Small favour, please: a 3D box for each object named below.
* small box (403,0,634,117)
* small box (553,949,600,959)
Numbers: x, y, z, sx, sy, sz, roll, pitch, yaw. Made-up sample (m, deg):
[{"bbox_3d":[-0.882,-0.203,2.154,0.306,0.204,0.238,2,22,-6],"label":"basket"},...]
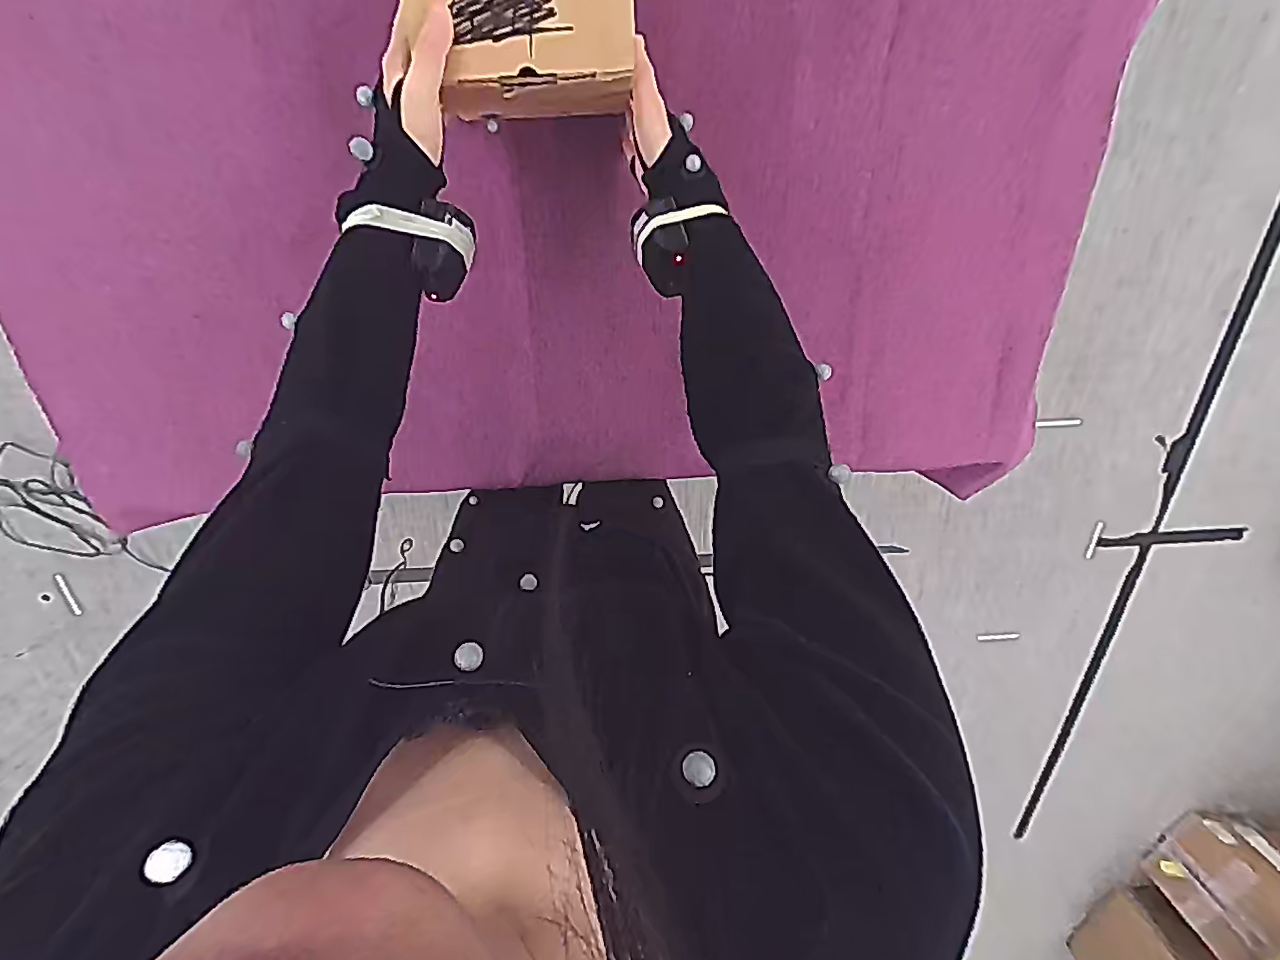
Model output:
[{"bbox_3d":[-0.093,-0.410,0.440,0.168,0.176,0.179,-5,115,-3],"label":"small box"},{"bbox_3d":[-0.228,1.843,1.961,0.179,0.176,0.168,-3,114,-3],"label":"small box"}]
